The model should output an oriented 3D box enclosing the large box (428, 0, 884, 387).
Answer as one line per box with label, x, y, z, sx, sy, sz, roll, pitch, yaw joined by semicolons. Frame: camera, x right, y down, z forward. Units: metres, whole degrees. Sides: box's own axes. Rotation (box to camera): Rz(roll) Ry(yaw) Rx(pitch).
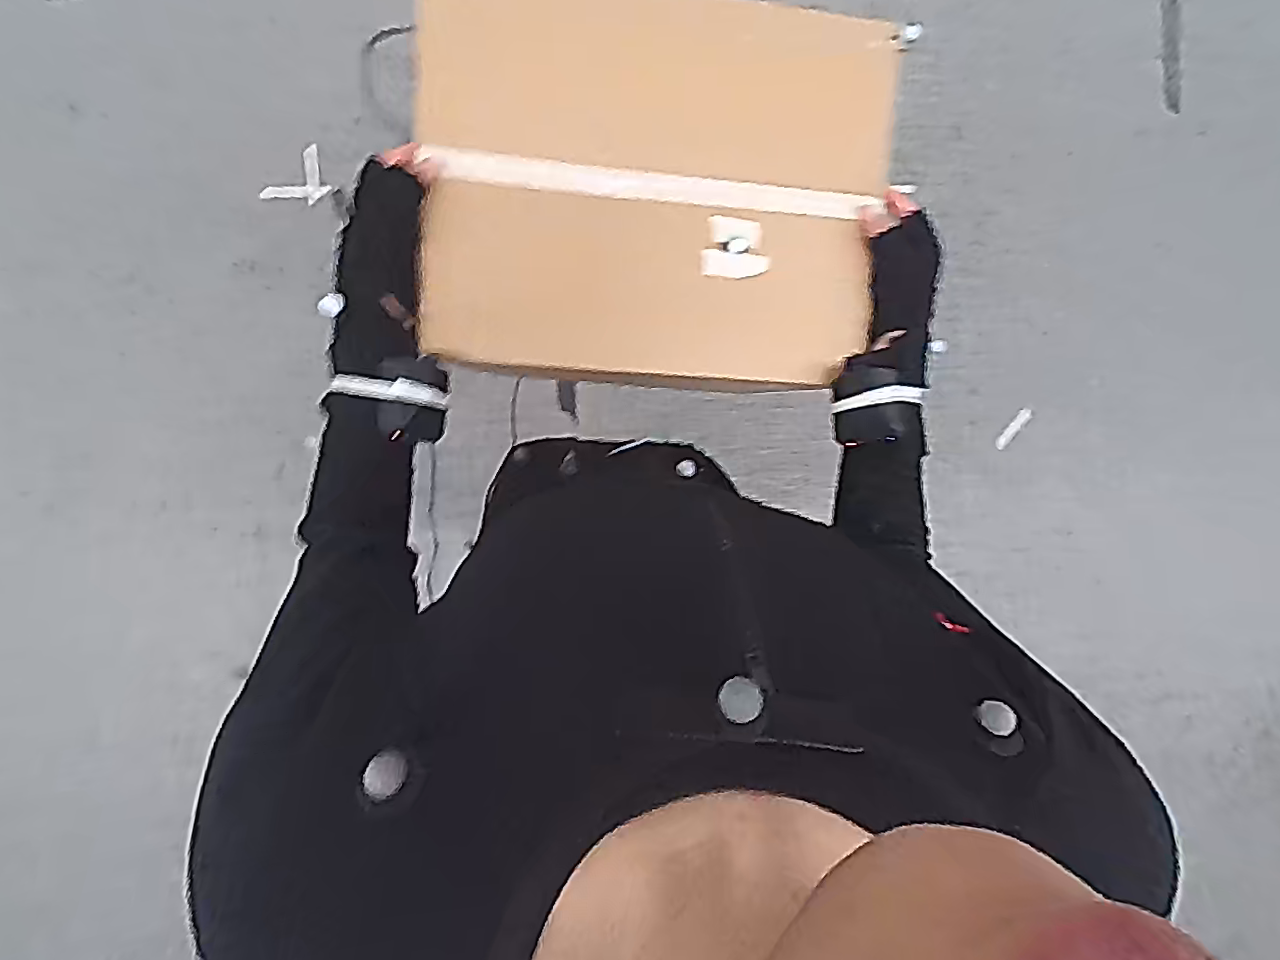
large box;-0.004;-0.275;0.625;0.408;0.320;0.320;2;99;-9
